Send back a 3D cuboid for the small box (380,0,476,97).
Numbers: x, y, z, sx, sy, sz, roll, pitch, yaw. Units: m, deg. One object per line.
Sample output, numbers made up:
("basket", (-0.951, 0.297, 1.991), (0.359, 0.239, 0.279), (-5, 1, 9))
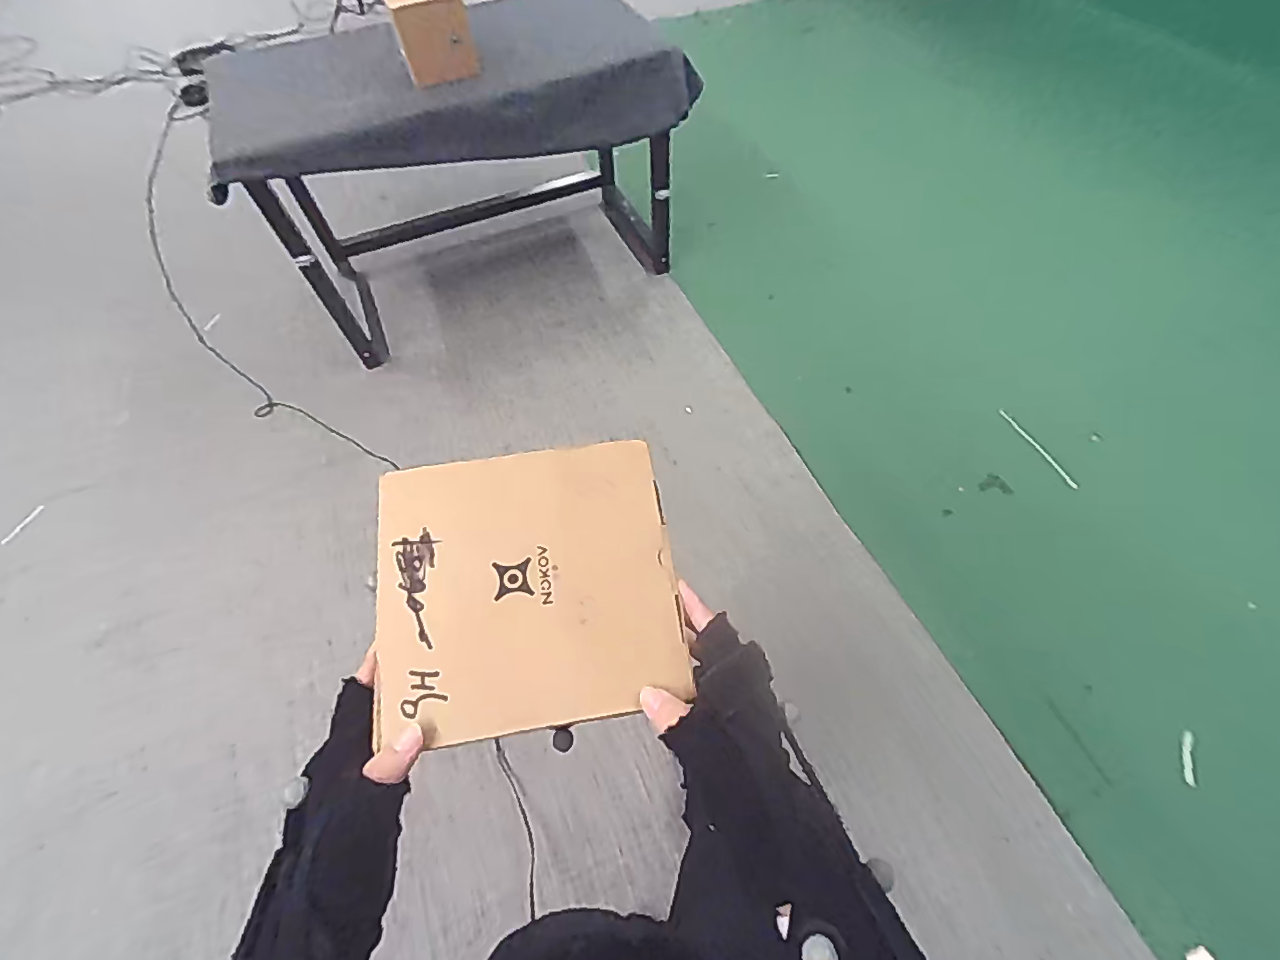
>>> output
("small box", (-0.545, -1.142, 1.411), (0.179, 0.176, 0.168), (-23, 58, -10))
